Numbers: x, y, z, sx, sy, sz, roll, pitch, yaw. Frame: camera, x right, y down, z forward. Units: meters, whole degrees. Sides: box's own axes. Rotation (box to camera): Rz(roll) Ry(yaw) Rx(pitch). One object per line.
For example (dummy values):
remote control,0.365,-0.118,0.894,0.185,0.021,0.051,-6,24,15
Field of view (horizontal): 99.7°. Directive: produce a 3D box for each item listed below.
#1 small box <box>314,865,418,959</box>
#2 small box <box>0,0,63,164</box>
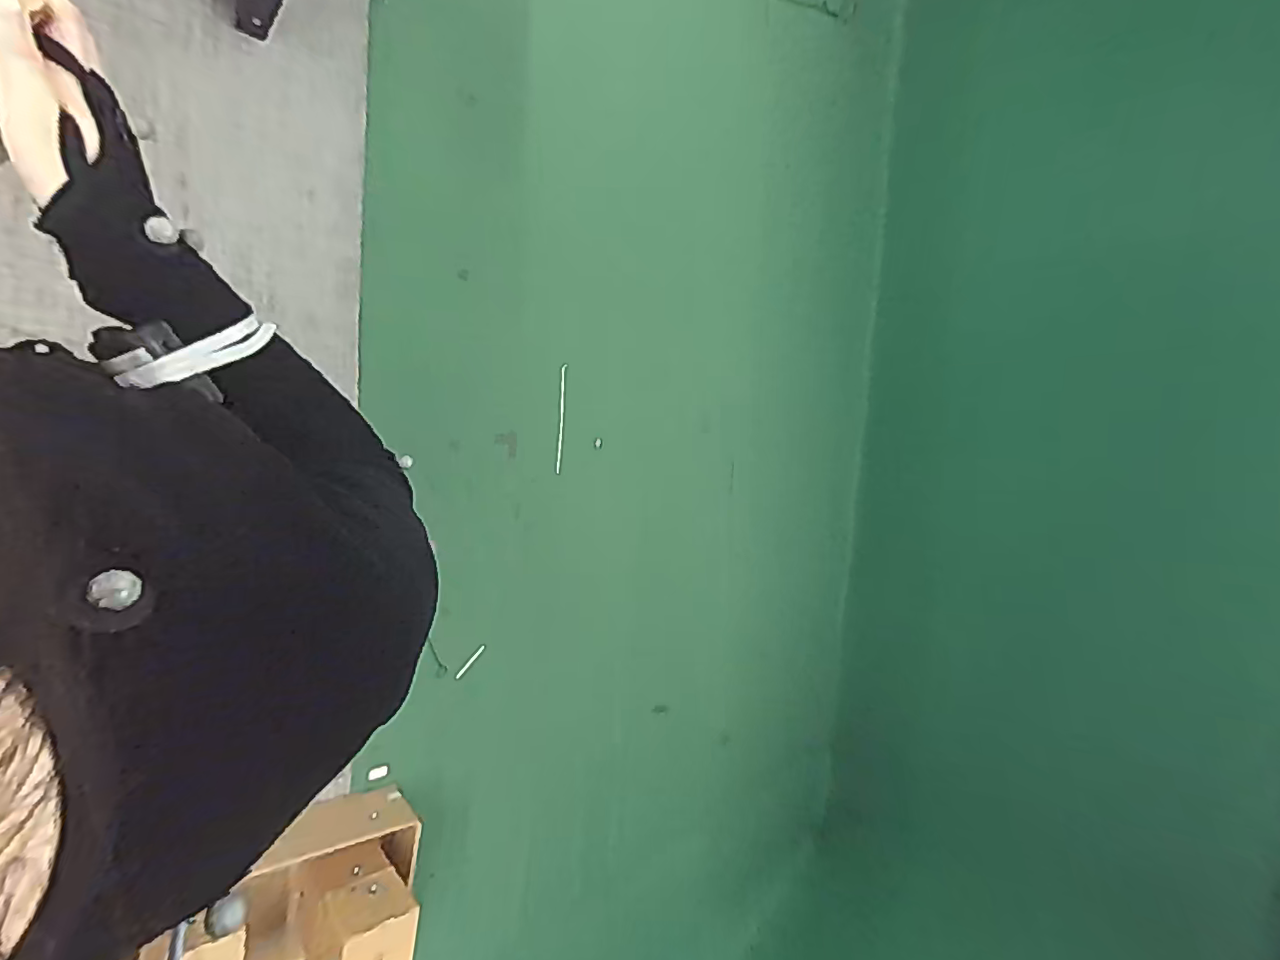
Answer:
small box,-0.652,1.071,1.280,0.168,0.176,0.179,9,88,-45
small box,-0.449,-0.246,0.267,0.179,0.176,0.168,-56,129,-23
